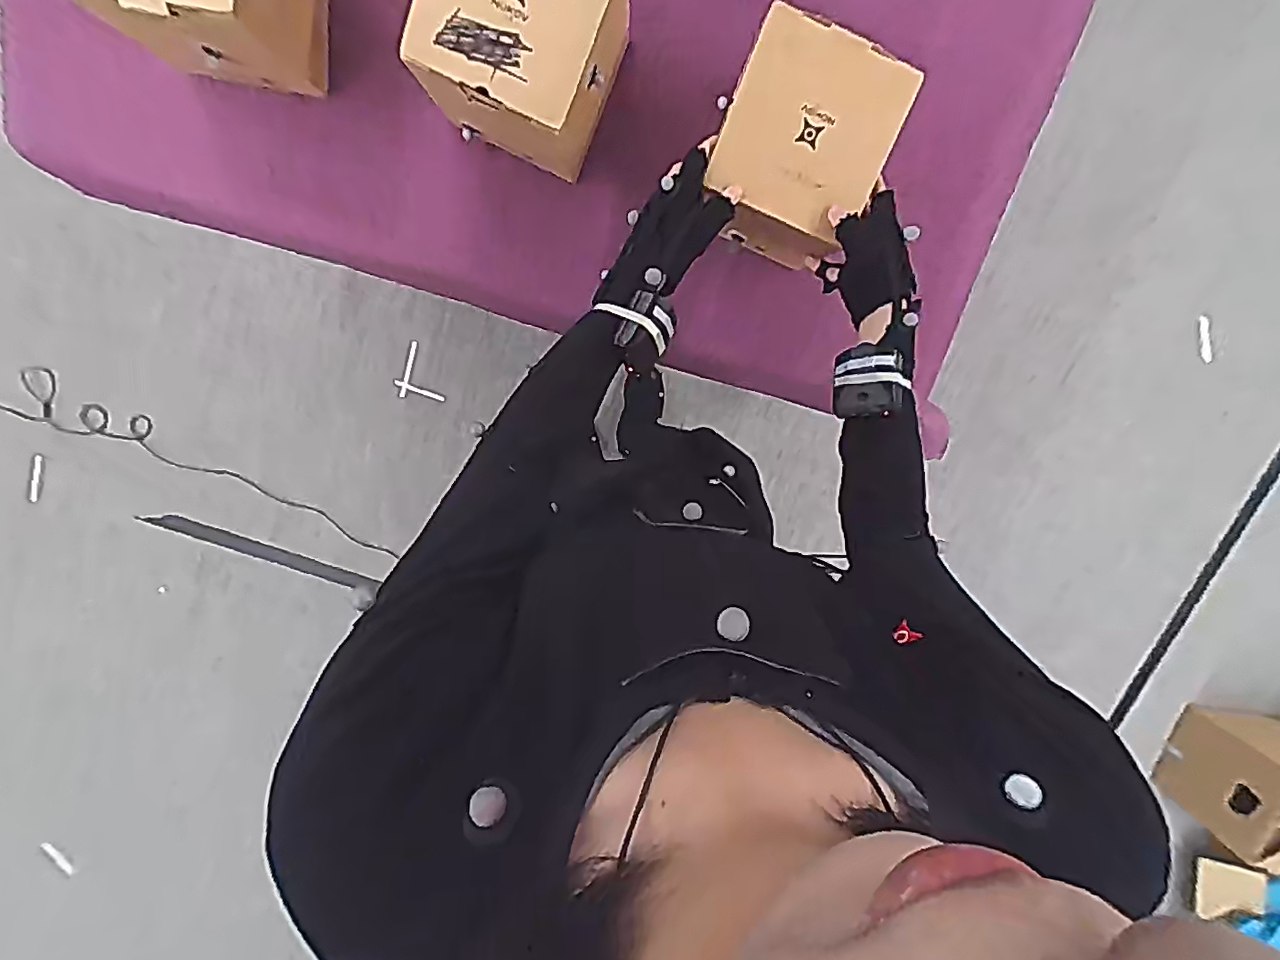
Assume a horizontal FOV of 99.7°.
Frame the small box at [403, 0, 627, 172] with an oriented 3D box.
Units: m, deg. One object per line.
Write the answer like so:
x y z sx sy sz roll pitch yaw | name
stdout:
-0.116 -0.467 0.574 0.168 0.176 0.179 23 101 -7 | small box

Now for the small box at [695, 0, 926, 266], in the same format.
0.170 -0.366 0.610 0.168 0.176 0.179 21 103 -5 | small box

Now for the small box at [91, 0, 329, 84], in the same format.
-0.436 -0.540 0.544 0.168 0.176 0.179 8 104 -4 | small box
